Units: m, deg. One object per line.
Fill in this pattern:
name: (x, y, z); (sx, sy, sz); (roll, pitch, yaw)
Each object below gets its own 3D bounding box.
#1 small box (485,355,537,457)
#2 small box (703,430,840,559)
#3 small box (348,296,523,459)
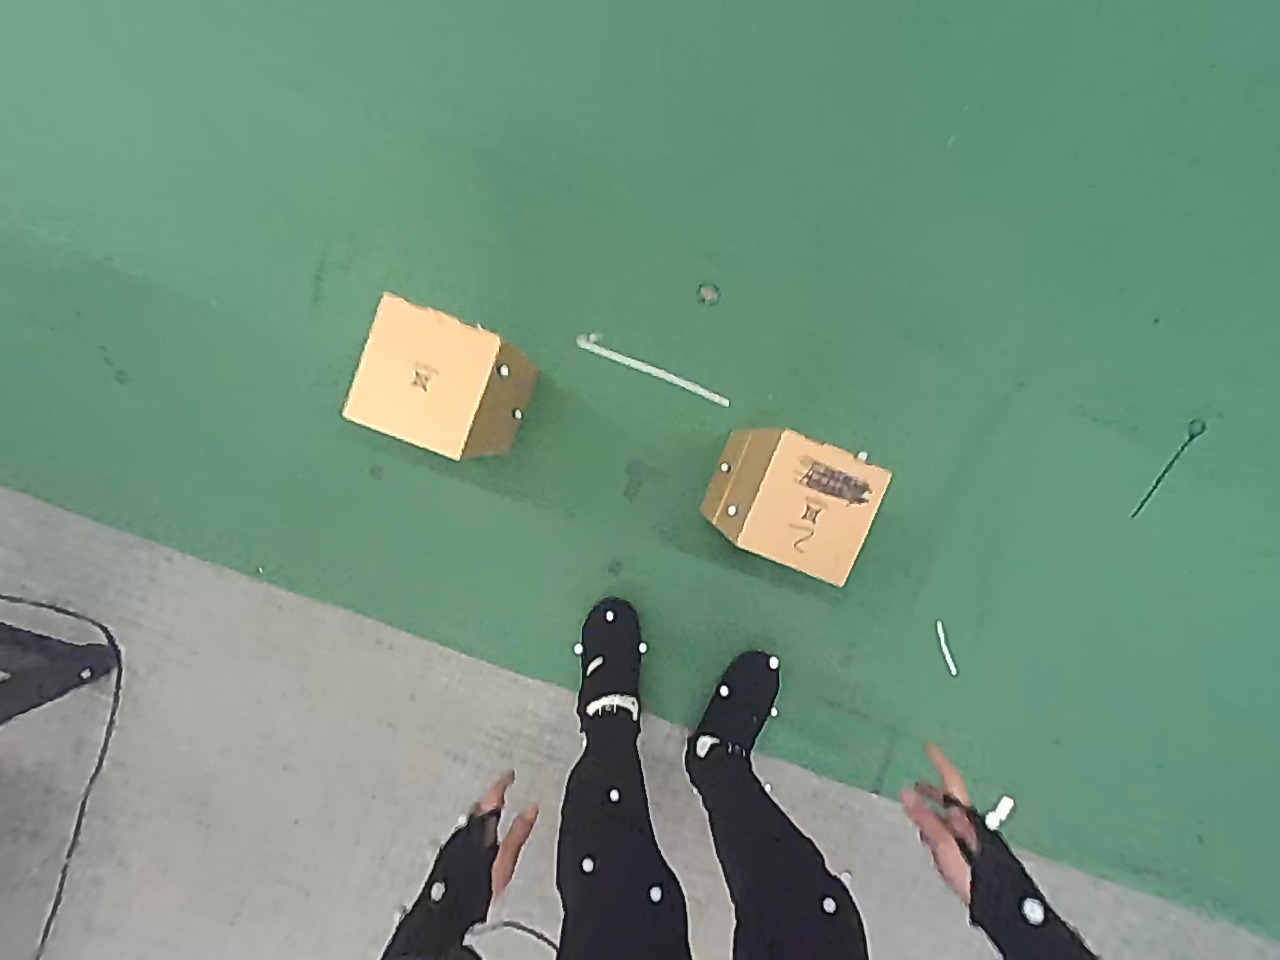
small box: (-0.293, -0.153, 0.960); (0.168, 0.176, 0.179); (21, 94, -2)
small box: (0.227, 0.019, 0.987); (0.168, 0.176, 0.179); (23, 94, -3)
small box: (-0.287, -0.140, 0.799); (0.168, 0.176, 0.179); (20, 93, -2)
